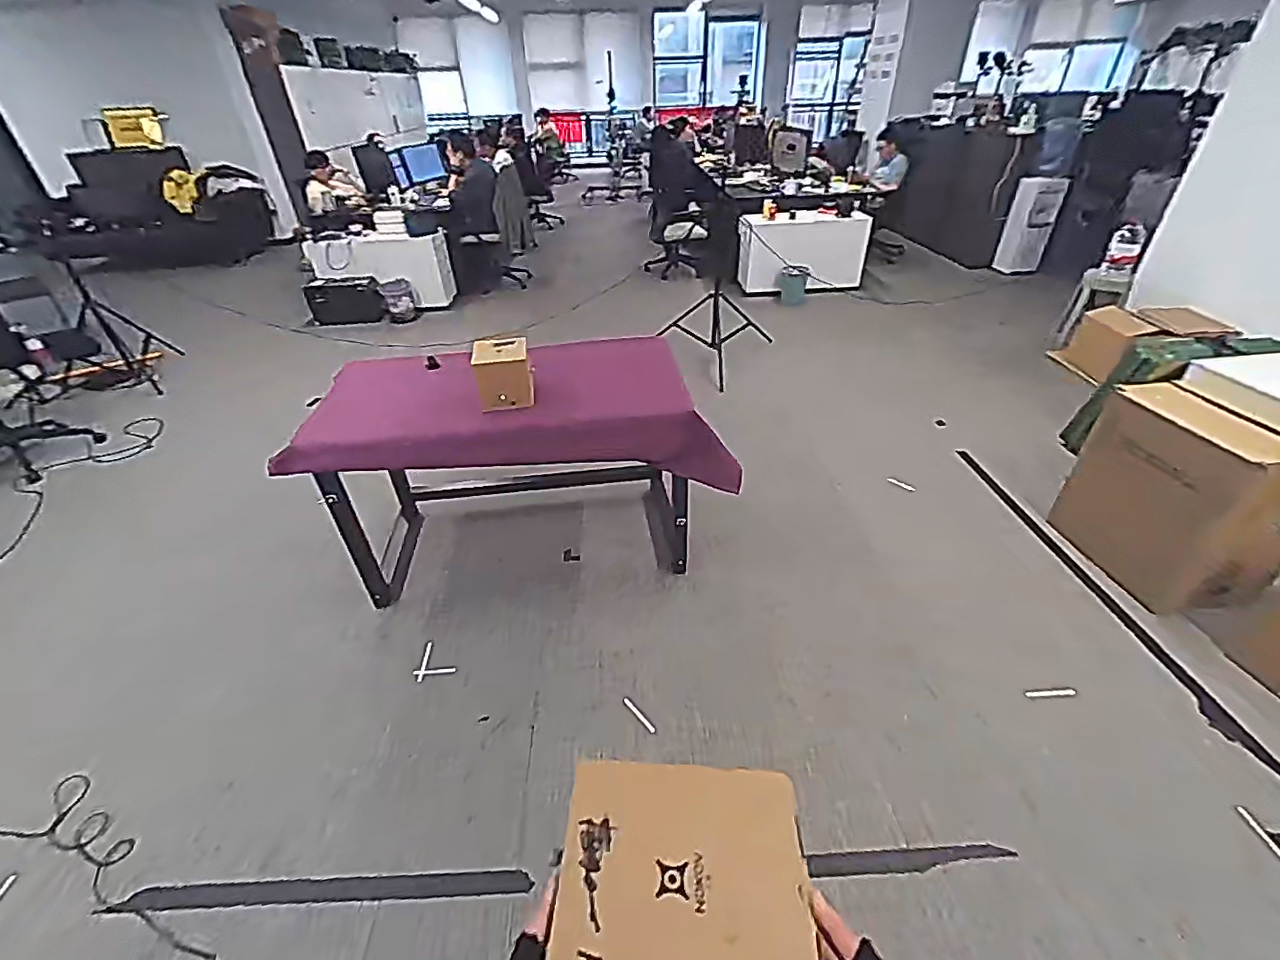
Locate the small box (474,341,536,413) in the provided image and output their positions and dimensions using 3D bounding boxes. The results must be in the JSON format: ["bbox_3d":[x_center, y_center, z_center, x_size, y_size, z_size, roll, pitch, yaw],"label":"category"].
[{"bbox_3d":[-0.429,-0.334,1.742,0.168,0.176,0.179,-7,37,-6],"label":"small box"}]
